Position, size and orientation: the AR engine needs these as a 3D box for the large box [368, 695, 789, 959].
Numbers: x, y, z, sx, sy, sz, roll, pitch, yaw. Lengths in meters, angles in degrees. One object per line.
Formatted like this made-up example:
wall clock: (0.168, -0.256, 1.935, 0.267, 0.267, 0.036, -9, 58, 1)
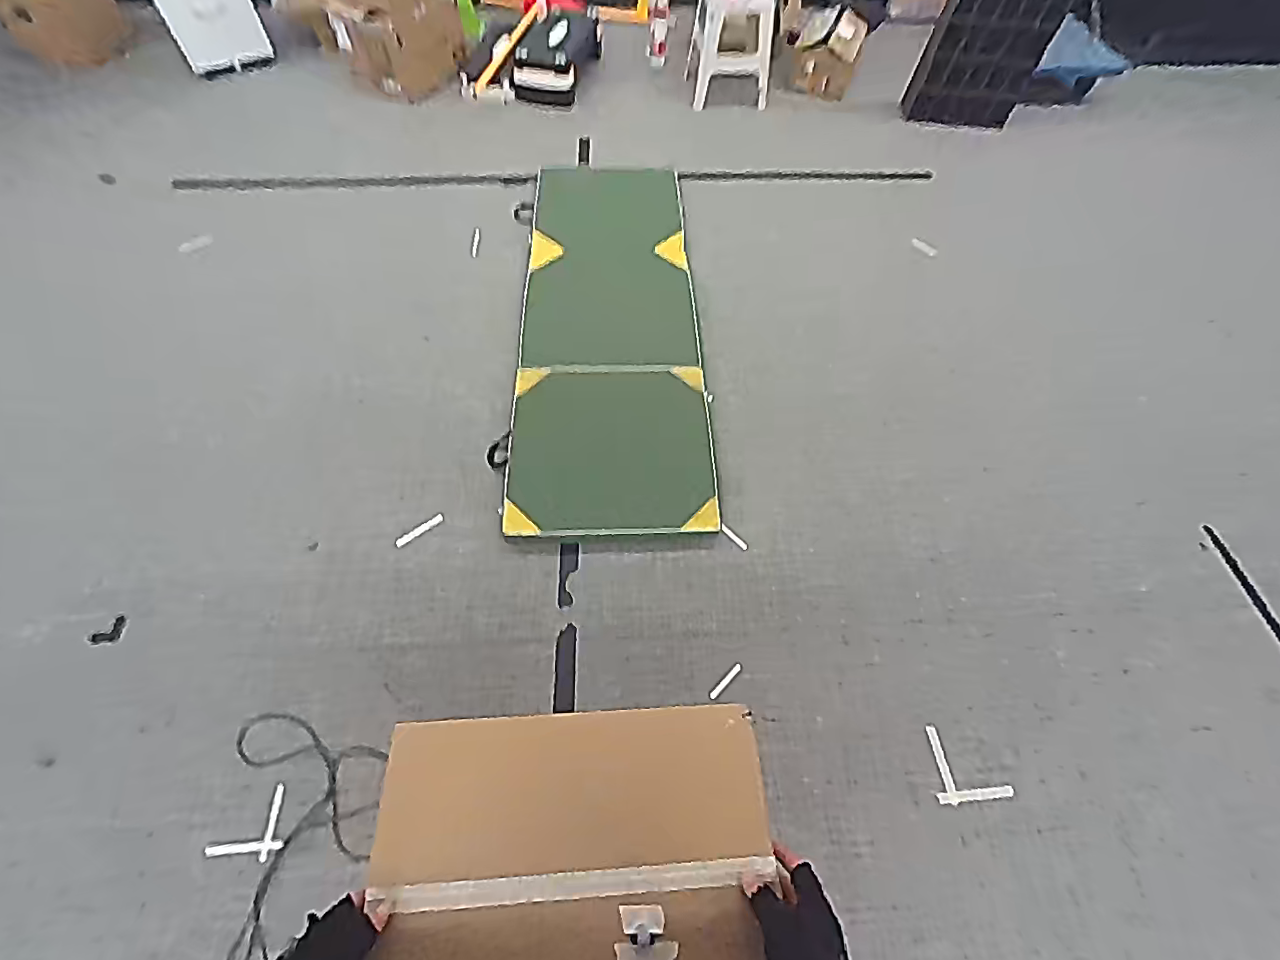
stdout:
large box: (-0.067, 0.473, 0.672, 0.408, 0.320, 0.320, -2, 58, -3)
